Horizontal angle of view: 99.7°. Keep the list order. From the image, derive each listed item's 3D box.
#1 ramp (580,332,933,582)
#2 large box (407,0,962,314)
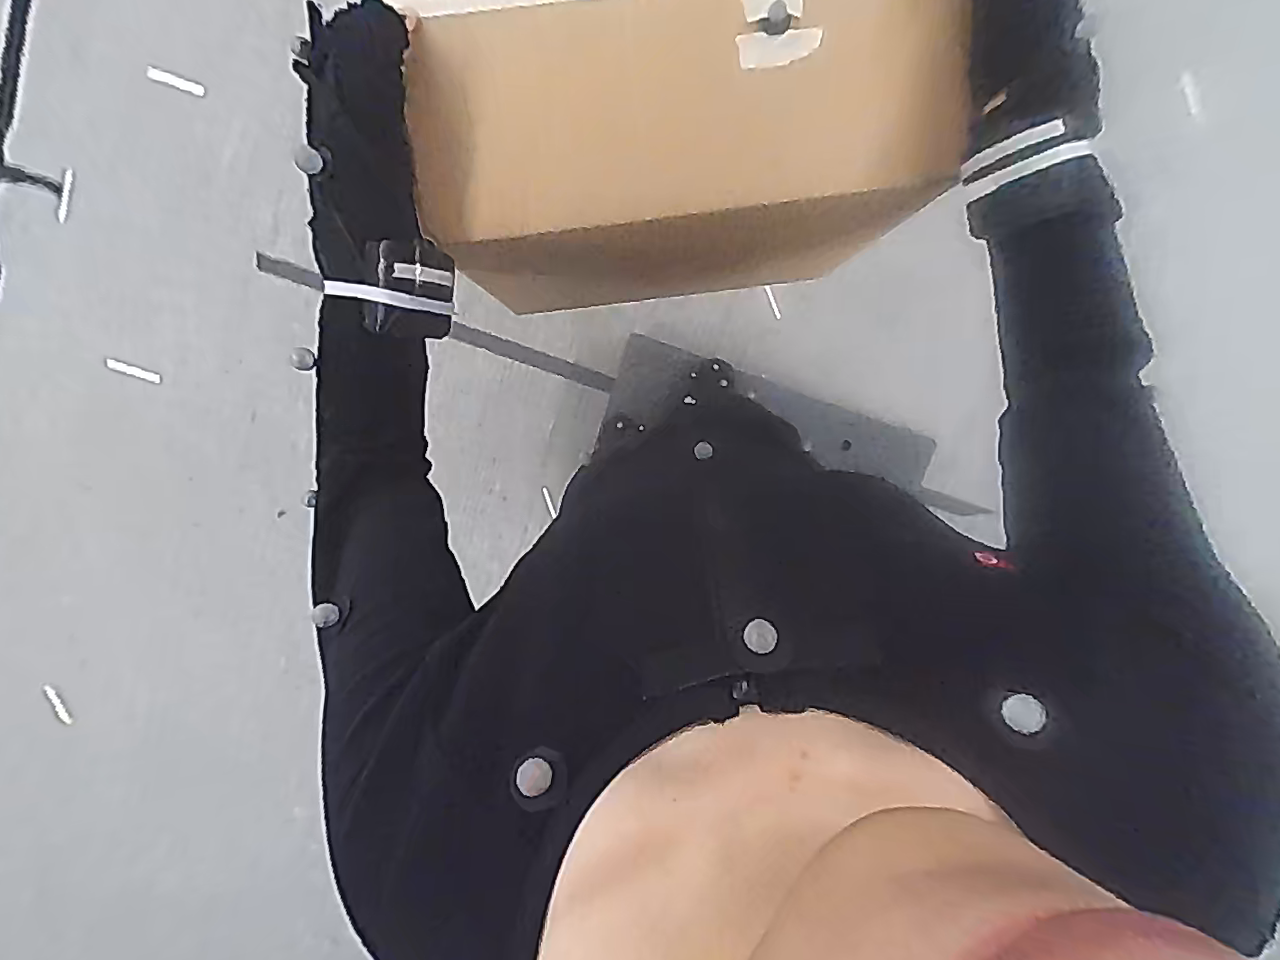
[{"bbox_3d":[0.368,-0.036,1.570,0.991,0.206,0.509,16,96,-3],"label":"ramp"},{"bbox_3d":[0.025,-0.373,0.539,0.408,0.320,0.320,-7,98,0],"label":"large box"}]
